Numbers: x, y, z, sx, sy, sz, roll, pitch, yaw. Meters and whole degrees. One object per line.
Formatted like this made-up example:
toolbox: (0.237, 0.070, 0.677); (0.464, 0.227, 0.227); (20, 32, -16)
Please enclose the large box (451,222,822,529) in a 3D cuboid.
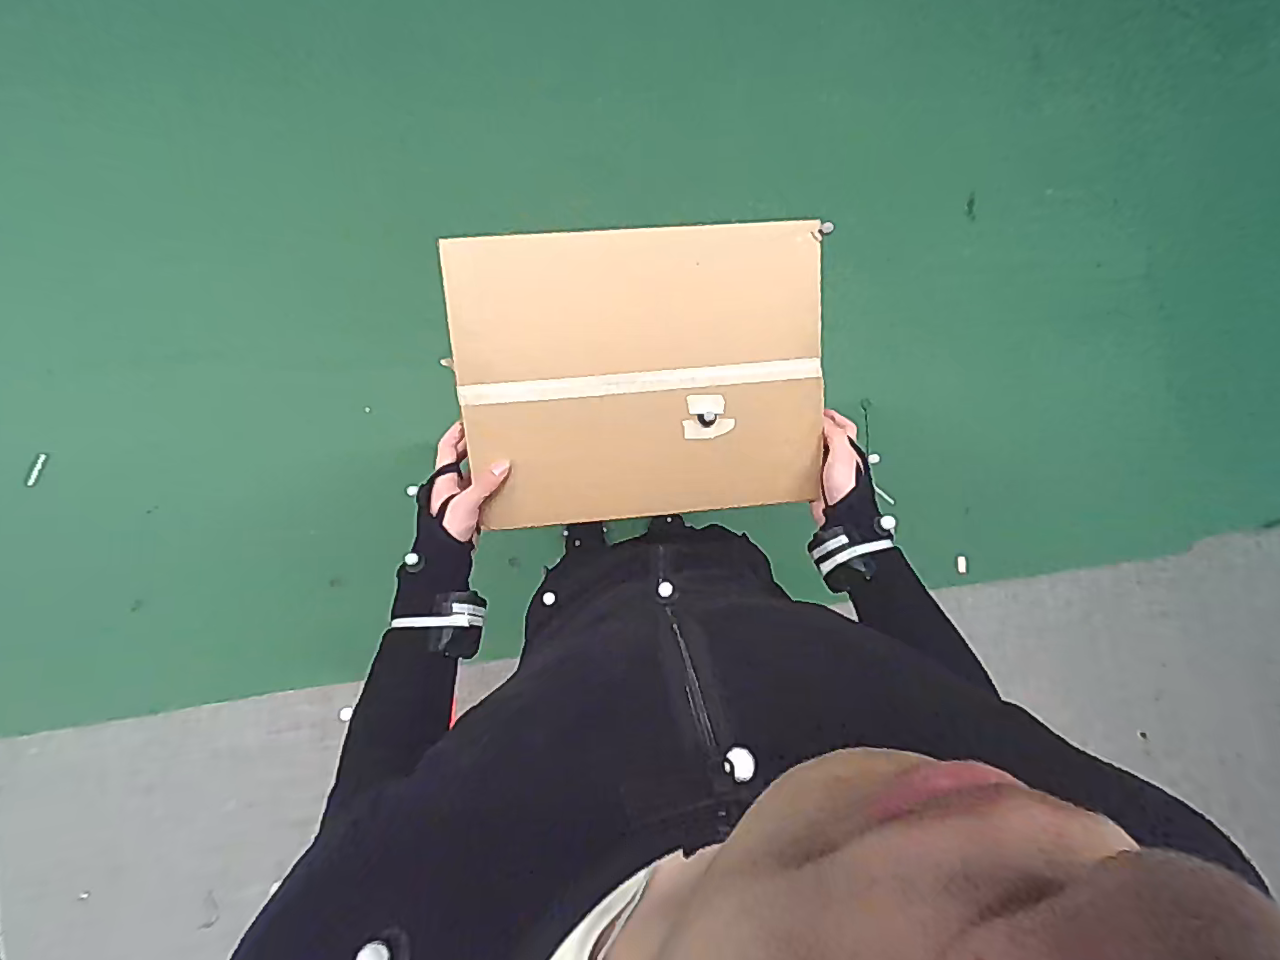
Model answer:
large box: (-0.006, -0.140, 0.755); (0.408, 0.320, 0.320); (-6, 102, -5)
